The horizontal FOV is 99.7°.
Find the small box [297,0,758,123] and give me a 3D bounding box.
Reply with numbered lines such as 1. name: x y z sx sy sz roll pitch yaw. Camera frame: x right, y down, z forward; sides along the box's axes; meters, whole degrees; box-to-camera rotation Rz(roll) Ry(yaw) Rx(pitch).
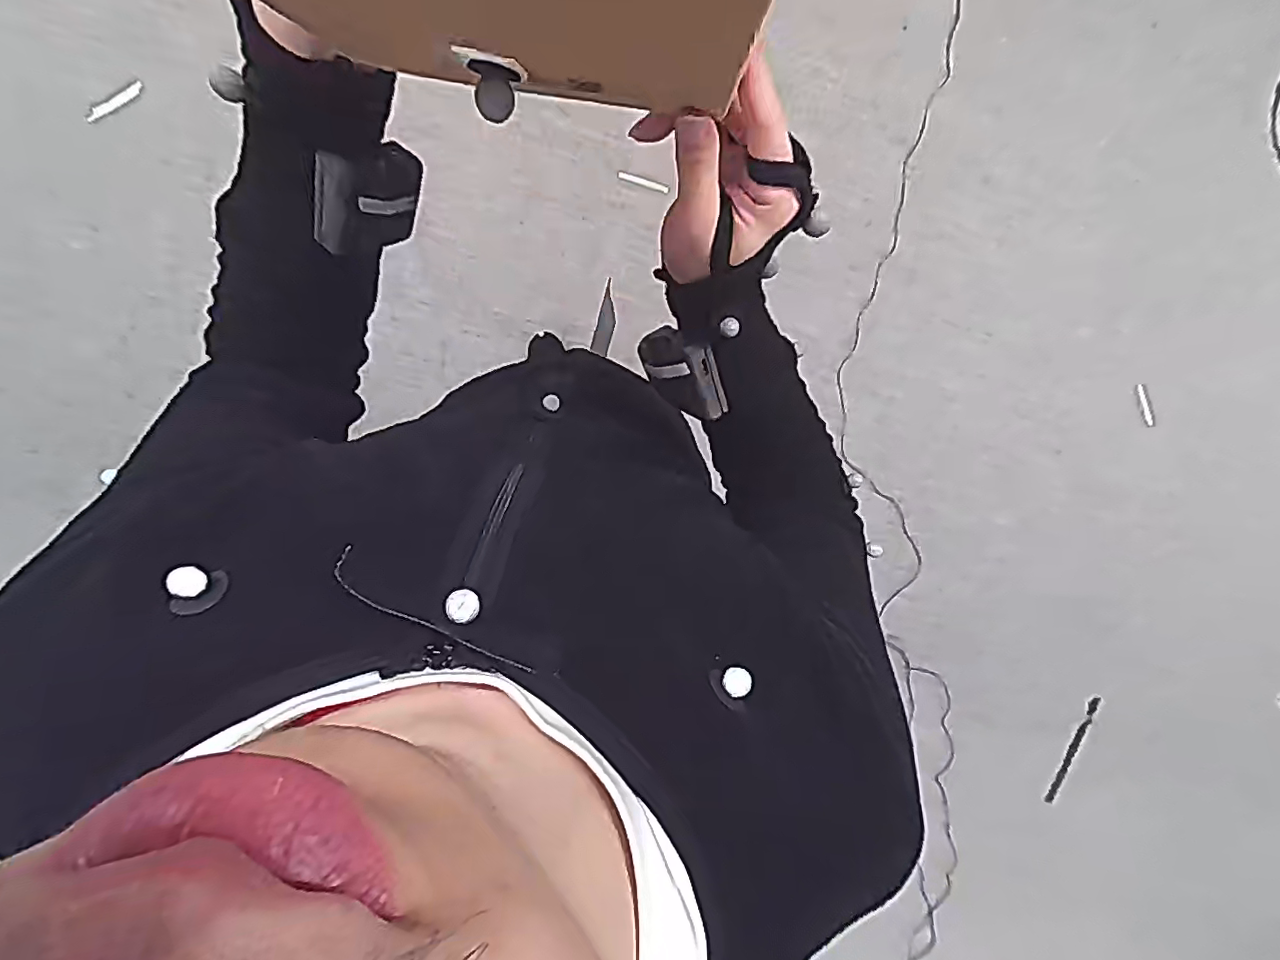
1. small box: -0.038 -0.230 0.151 0.168 0.176 0.179 7 112 0
